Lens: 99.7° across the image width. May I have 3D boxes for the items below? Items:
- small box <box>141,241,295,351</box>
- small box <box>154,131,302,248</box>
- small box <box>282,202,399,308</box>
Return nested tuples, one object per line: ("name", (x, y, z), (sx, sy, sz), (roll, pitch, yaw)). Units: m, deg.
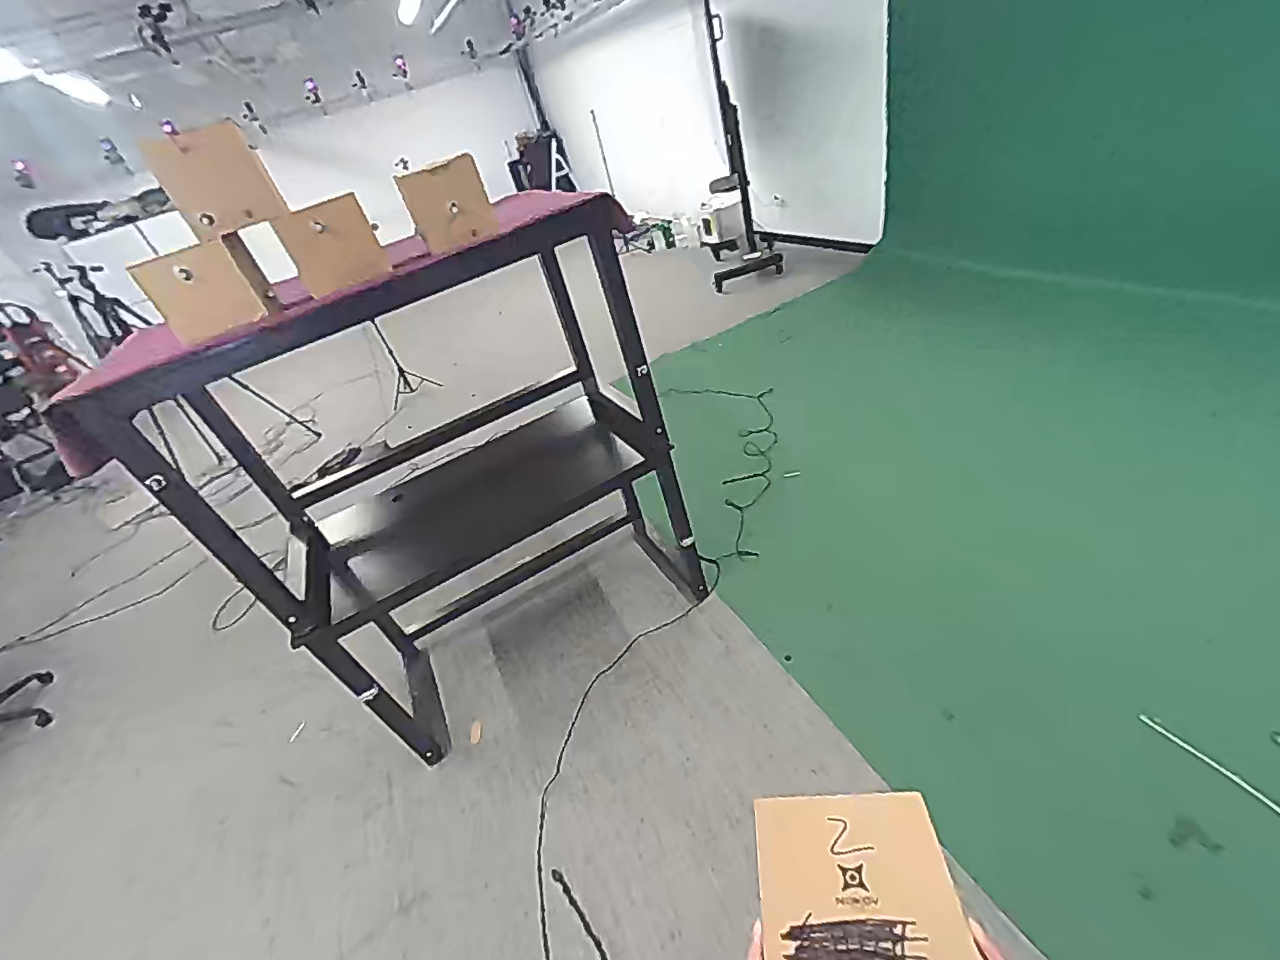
("small box", (-0.882, -0.393, 1.151), (0.179, 0.176, 0.168), (-25, 34, -11))
("small box", (-0.822, -0.584, 1.102), (0.168, 0.176, 0.179), (-28, 34, -15))
("small box", (-0.661, -0.508, 1.214), (0.179, 0.176, 0.168), (-29, 35, -14))
